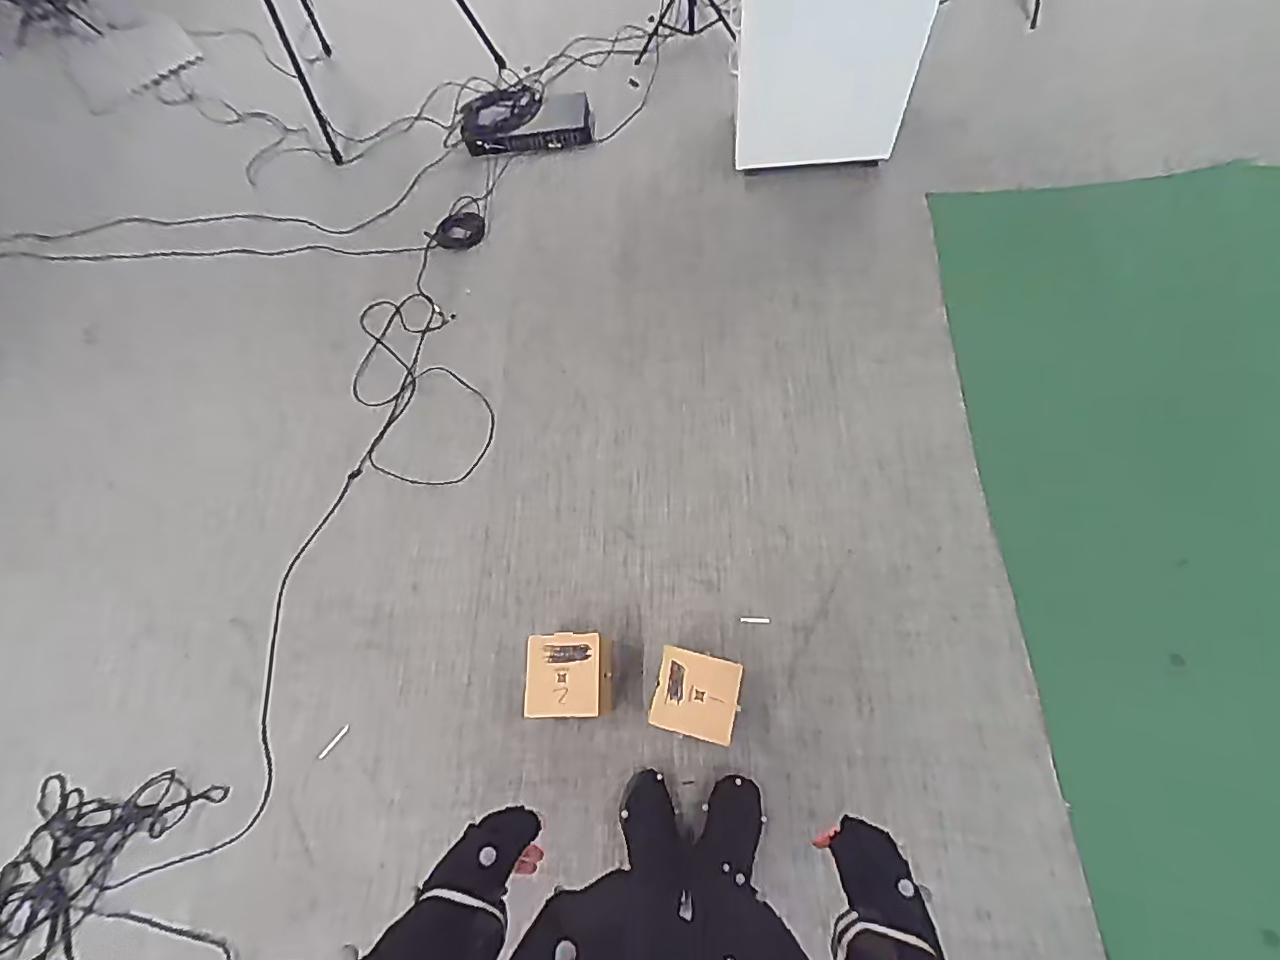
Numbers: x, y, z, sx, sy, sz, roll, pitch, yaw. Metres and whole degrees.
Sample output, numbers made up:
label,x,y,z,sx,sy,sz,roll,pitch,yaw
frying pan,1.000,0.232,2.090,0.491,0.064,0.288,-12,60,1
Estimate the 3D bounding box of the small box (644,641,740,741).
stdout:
label,x,y,z,sx,sy,sz,roll,pitch,yaw
small box,0.118,0.475,1.219,0.179,0.176,0.168,12,70,10
